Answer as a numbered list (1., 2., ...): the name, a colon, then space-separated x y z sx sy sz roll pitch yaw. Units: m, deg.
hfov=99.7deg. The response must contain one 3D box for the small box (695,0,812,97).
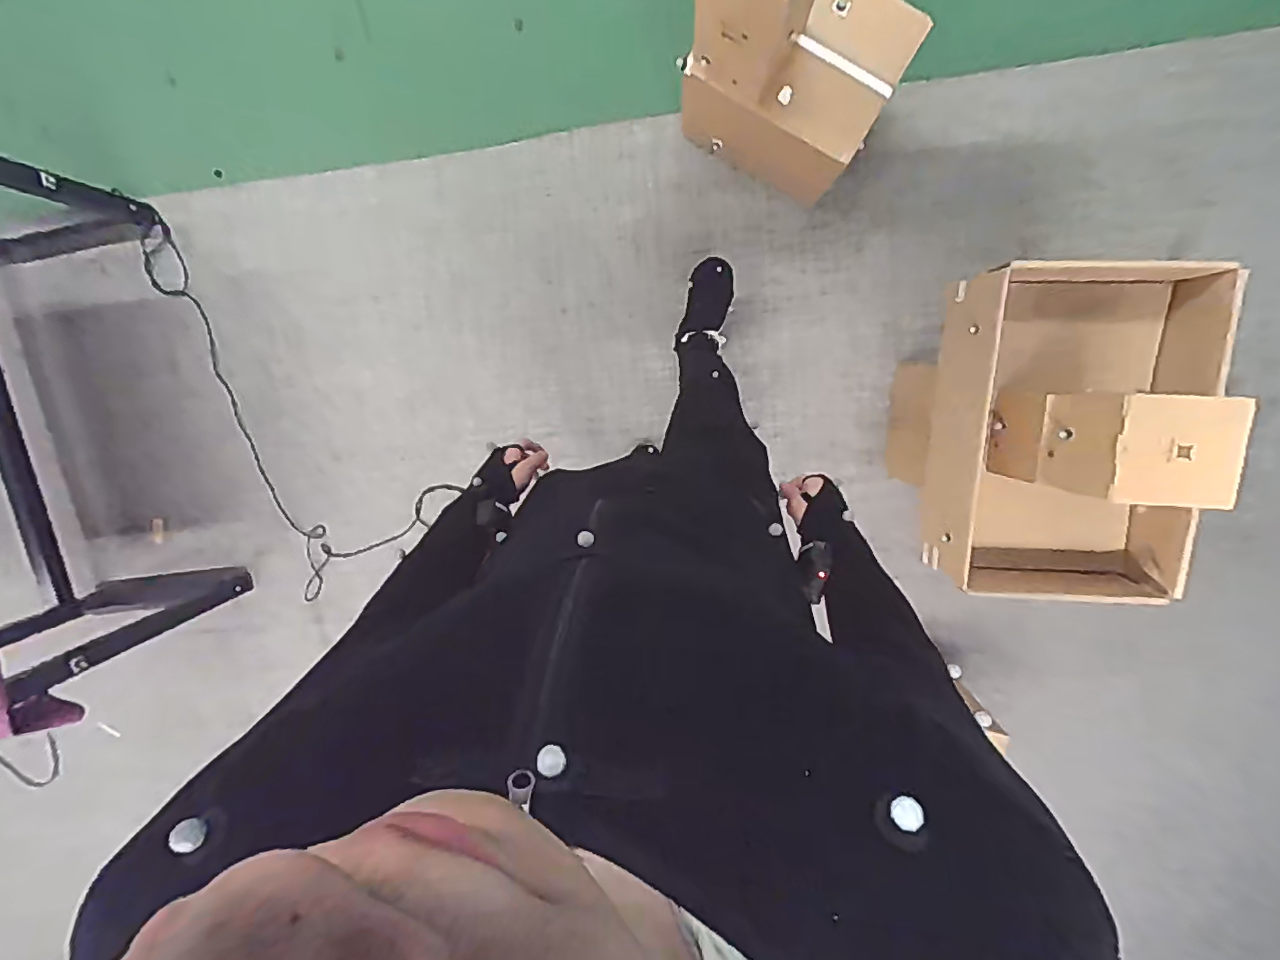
1. small box: 0.217 -0.882 1.023 0.168 0.176 0.179 33 101 -4

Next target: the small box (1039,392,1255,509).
1. small box: 0.797 -0.055 0.871 0.179 0.176 0.168 2 100 4
